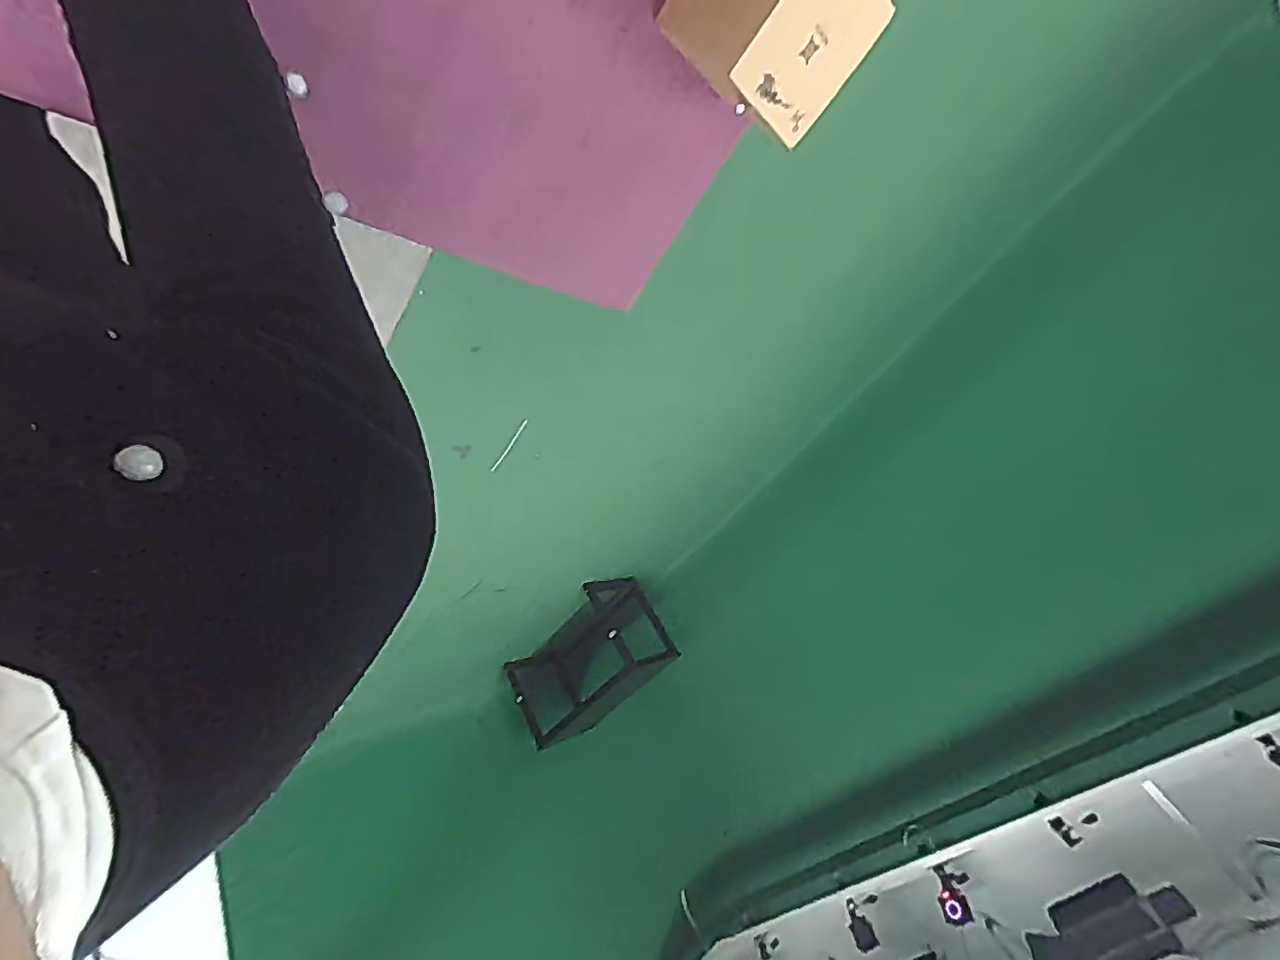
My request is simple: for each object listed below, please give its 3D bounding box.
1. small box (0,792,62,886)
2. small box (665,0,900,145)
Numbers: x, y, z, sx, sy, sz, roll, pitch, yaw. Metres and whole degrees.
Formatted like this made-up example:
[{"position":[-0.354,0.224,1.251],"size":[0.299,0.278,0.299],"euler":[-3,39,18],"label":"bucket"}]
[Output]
[{"position":[-1.753,1.012,1.509],"size":[0.179,0.176,0.168],"euler":[-45,151,22],"label":"small box"},{"position":[0.162,-0.558,0.644],"size":[0.168,0.176,0.179],"euler":[5,135,-49],"label":"small box"}]
